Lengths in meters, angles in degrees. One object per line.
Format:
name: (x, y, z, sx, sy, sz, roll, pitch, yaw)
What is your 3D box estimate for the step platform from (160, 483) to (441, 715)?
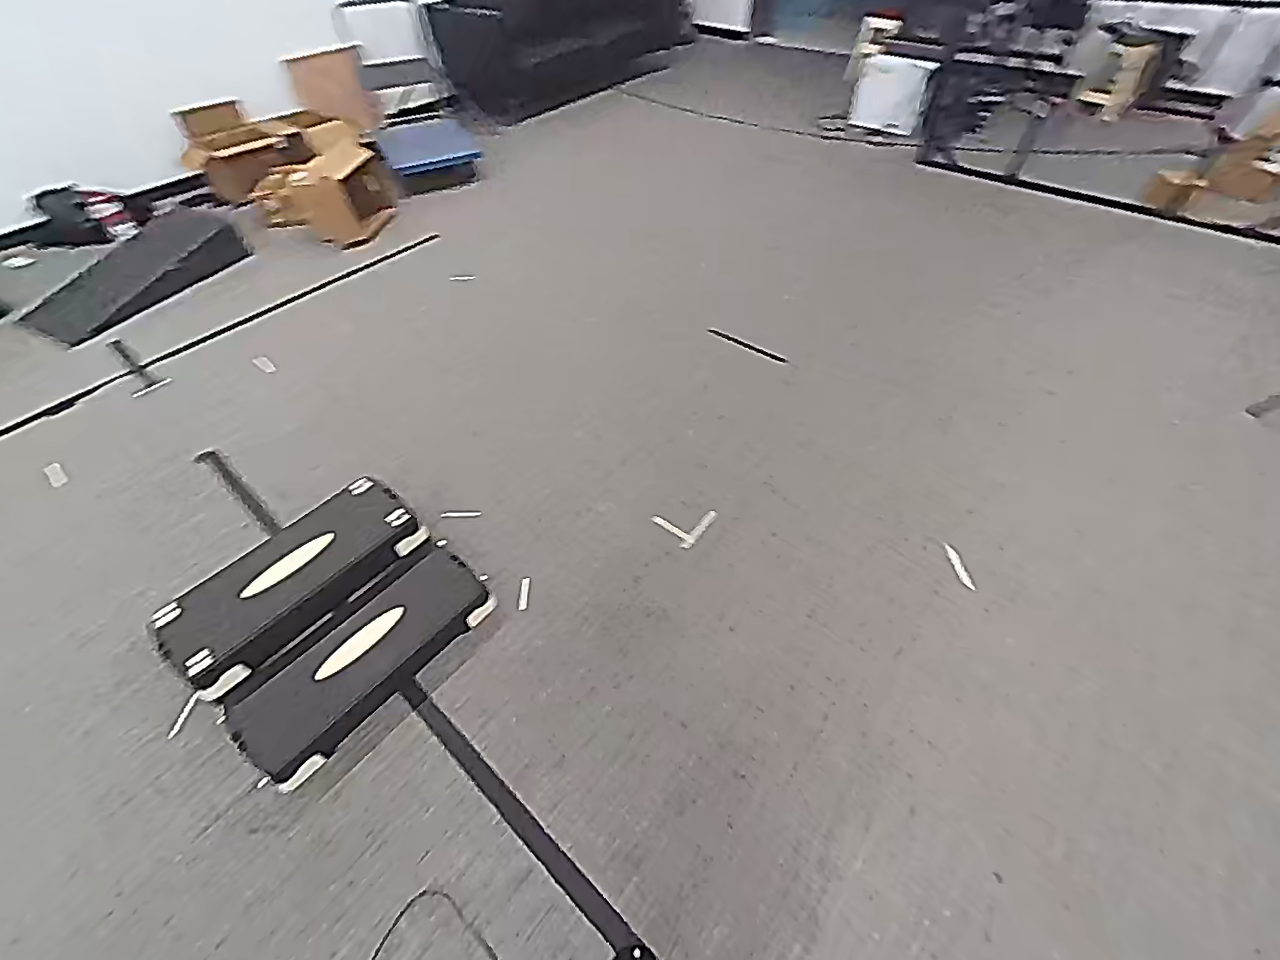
step platform: (-0.935, 0.309, 1.545, 0.286, 0.204, 0.684, 32, 57, 25)
